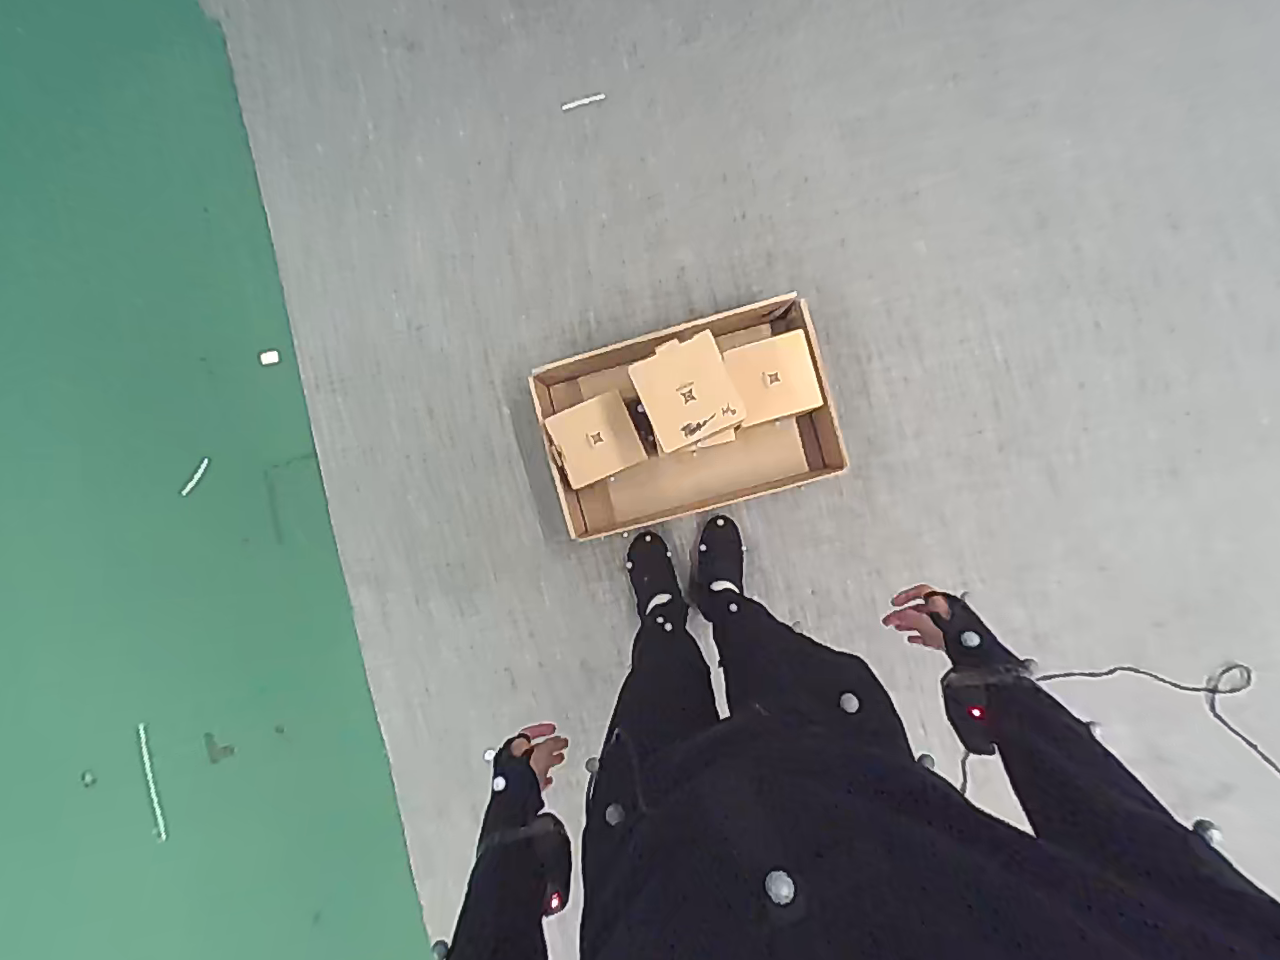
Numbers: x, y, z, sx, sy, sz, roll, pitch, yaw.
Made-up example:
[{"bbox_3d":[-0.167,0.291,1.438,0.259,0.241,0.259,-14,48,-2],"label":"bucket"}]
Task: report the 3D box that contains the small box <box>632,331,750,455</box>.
[{"bbox_3d":[0.096,-0.158,1.051,0.168,0.176,0.179,-24,89,5],"label":"small box"}]
